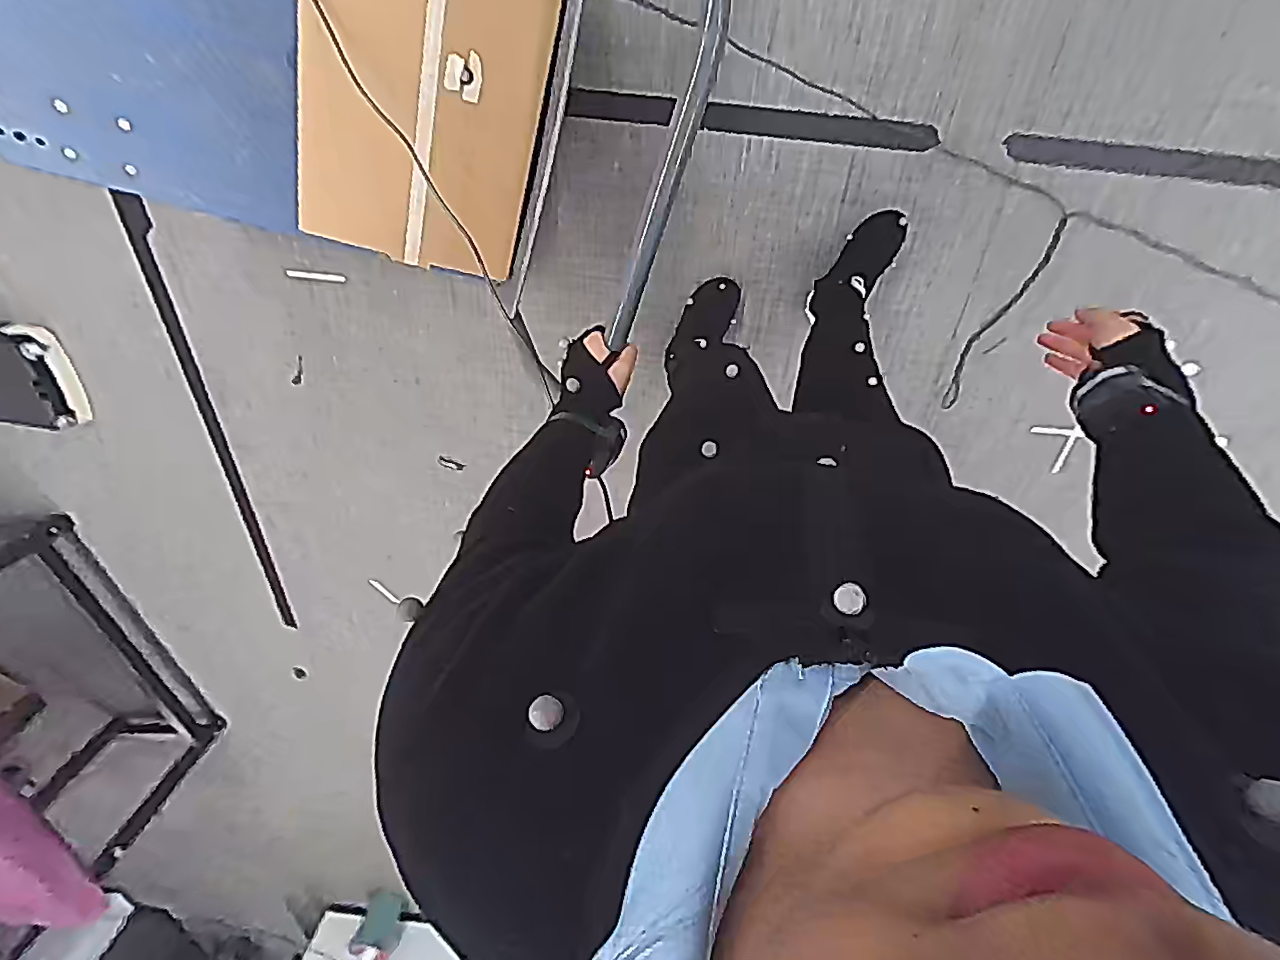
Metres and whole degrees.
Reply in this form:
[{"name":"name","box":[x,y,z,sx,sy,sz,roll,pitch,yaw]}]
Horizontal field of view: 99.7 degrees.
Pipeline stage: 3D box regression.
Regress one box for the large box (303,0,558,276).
[{"name":"large box","box":[-0.345,-0.609,0.895,0.320,0.320,0.408,6,123,-24]}]
